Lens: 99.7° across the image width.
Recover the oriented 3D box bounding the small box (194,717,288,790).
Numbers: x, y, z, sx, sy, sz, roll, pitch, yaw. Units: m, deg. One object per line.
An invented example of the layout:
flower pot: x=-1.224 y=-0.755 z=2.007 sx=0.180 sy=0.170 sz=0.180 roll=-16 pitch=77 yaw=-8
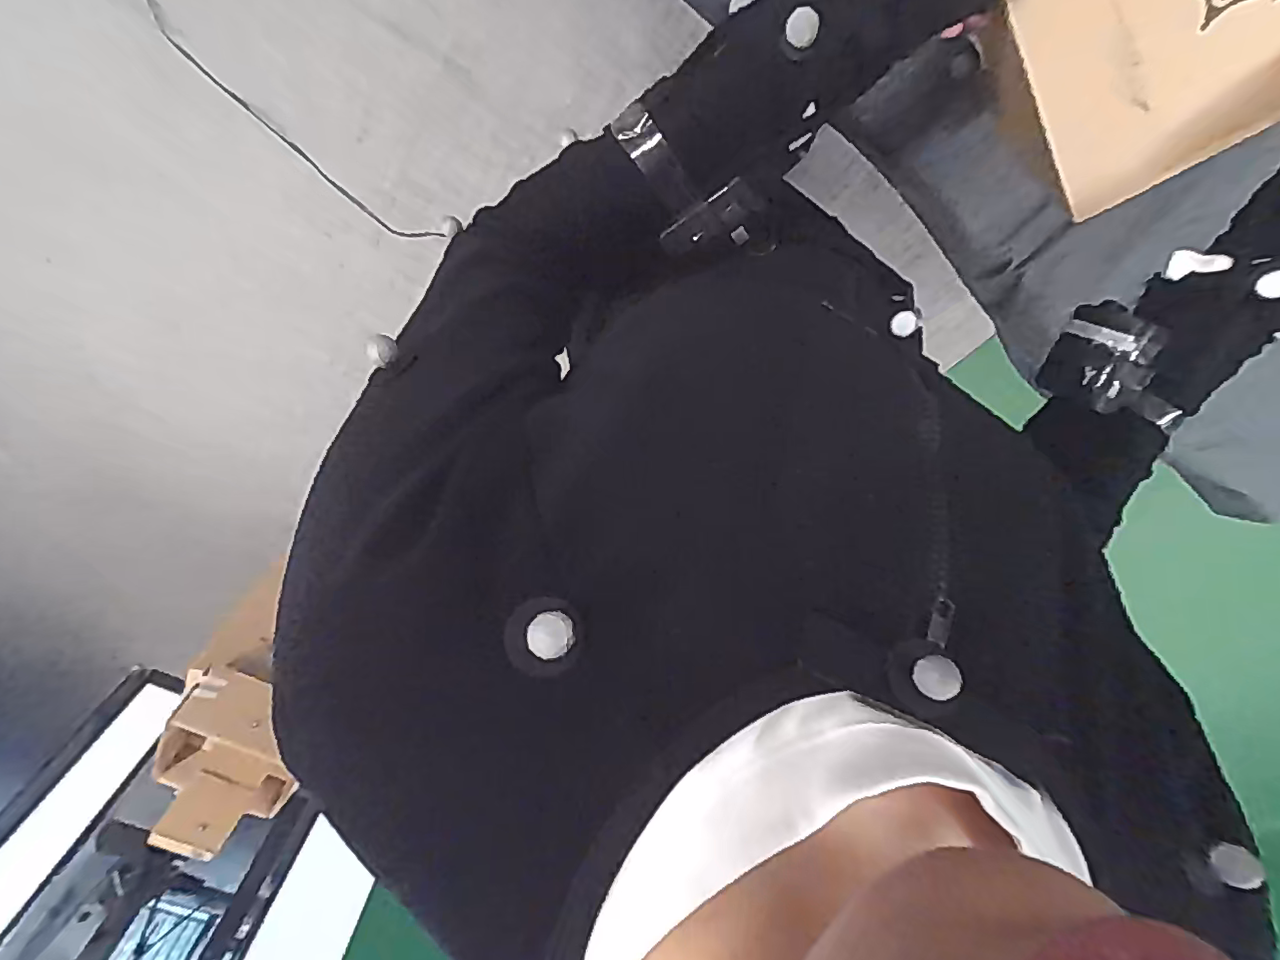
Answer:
small box: x=-1.278 y=0.882 z=1.729 sx=0.179 sy=0.176 sz=0.168 roll=34 pitch=129 yaw=-15

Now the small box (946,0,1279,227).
small box: x=0.313 y=-0.302 z=0.328 sx=0.179 sy=0.176 sz=0.168 roll=-24 pitch=124 yaw=35

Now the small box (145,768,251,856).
small box: x=-1.303 y=0.983 z=1.602 sx=0.179 sy=0.176 sz=0.168 roll=36 pitch=127 yaw=-17
